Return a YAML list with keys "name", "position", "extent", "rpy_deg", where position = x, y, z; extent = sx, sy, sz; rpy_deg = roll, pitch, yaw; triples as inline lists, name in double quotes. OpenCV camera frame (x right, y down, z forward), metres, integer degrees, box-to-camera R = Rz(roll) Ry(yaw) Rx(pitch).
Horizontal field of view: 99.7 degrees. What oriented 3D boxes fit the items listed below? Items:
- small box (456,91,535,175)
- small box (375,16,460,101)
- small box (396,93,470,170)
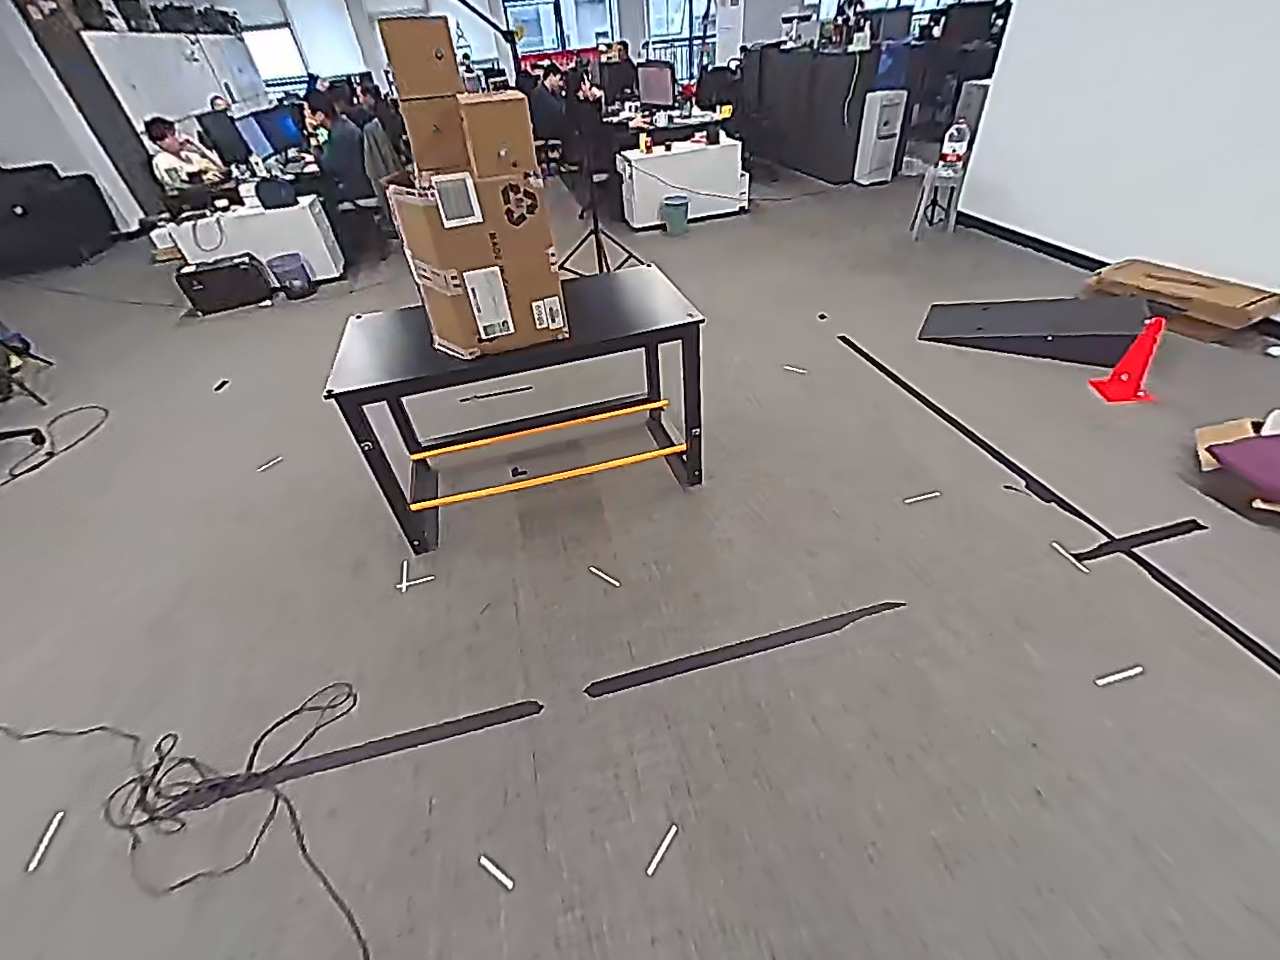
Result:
- name: "small box"
  position: [-0.389, -0.934, 1.458]
  extent: [0.168, 0.176, 0.179]
  rpy_deg: [-15, 42, -12]
- name: "small box"
  position: [-0.598, -1.138, 1.466]
  extent: [0.179, 0.176, 0.168]
  rpy_deg: [-17, 38, -14]
- name: "small box"
  position: [-0.588, -1.012, 1.570]
  extent: [0.179, 0.176, 0.168]
  rpy_deg: [-16, 39, -12]
